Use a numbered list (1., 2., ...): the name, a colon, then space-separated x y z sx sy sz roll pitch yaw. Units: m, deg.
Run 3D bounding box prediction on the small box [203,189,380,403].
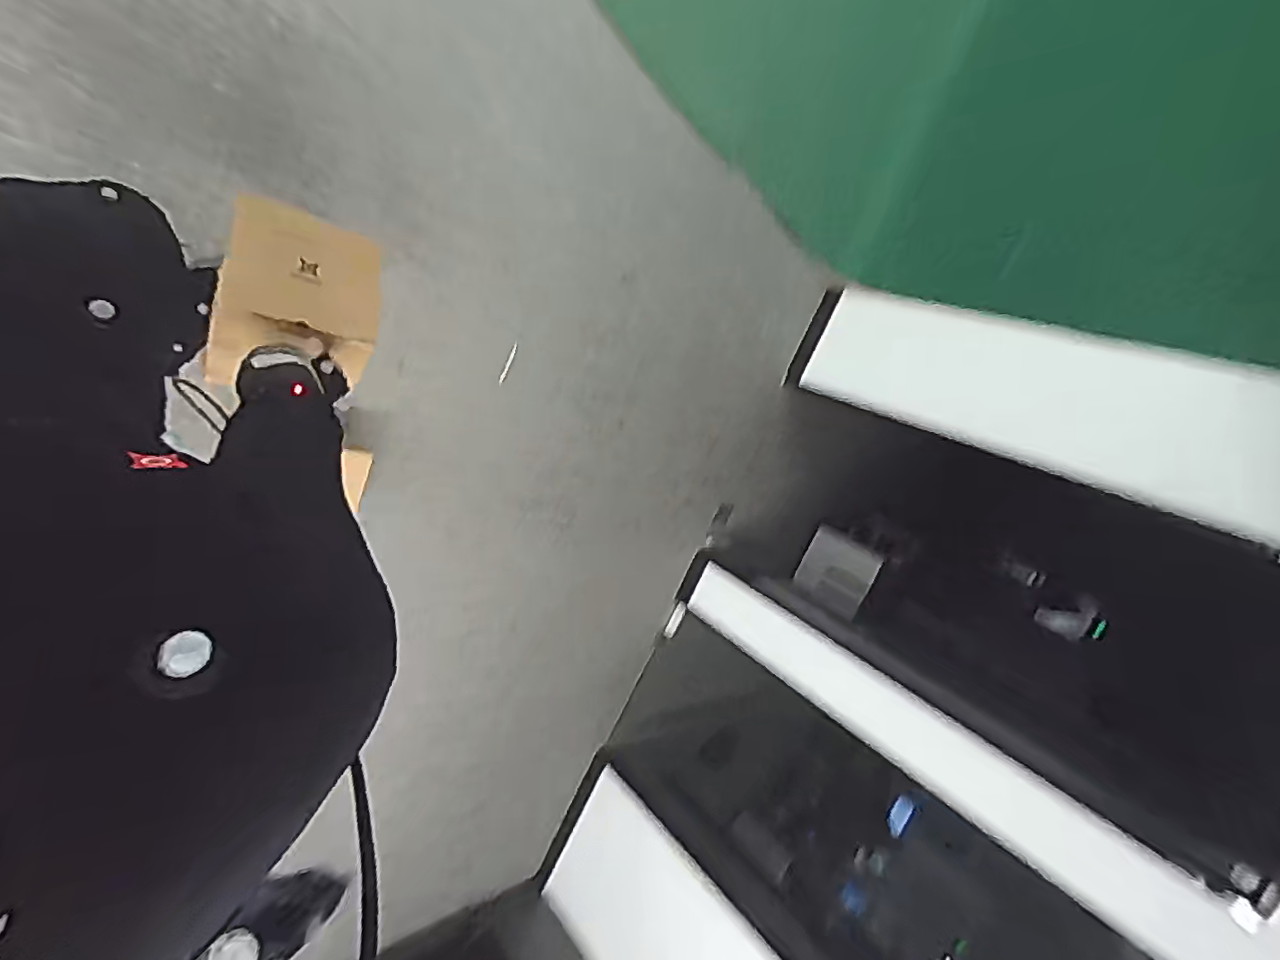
1. small box: -0.454 -0.223 0.707 0.168 0.179 0.176 10 152 -40
